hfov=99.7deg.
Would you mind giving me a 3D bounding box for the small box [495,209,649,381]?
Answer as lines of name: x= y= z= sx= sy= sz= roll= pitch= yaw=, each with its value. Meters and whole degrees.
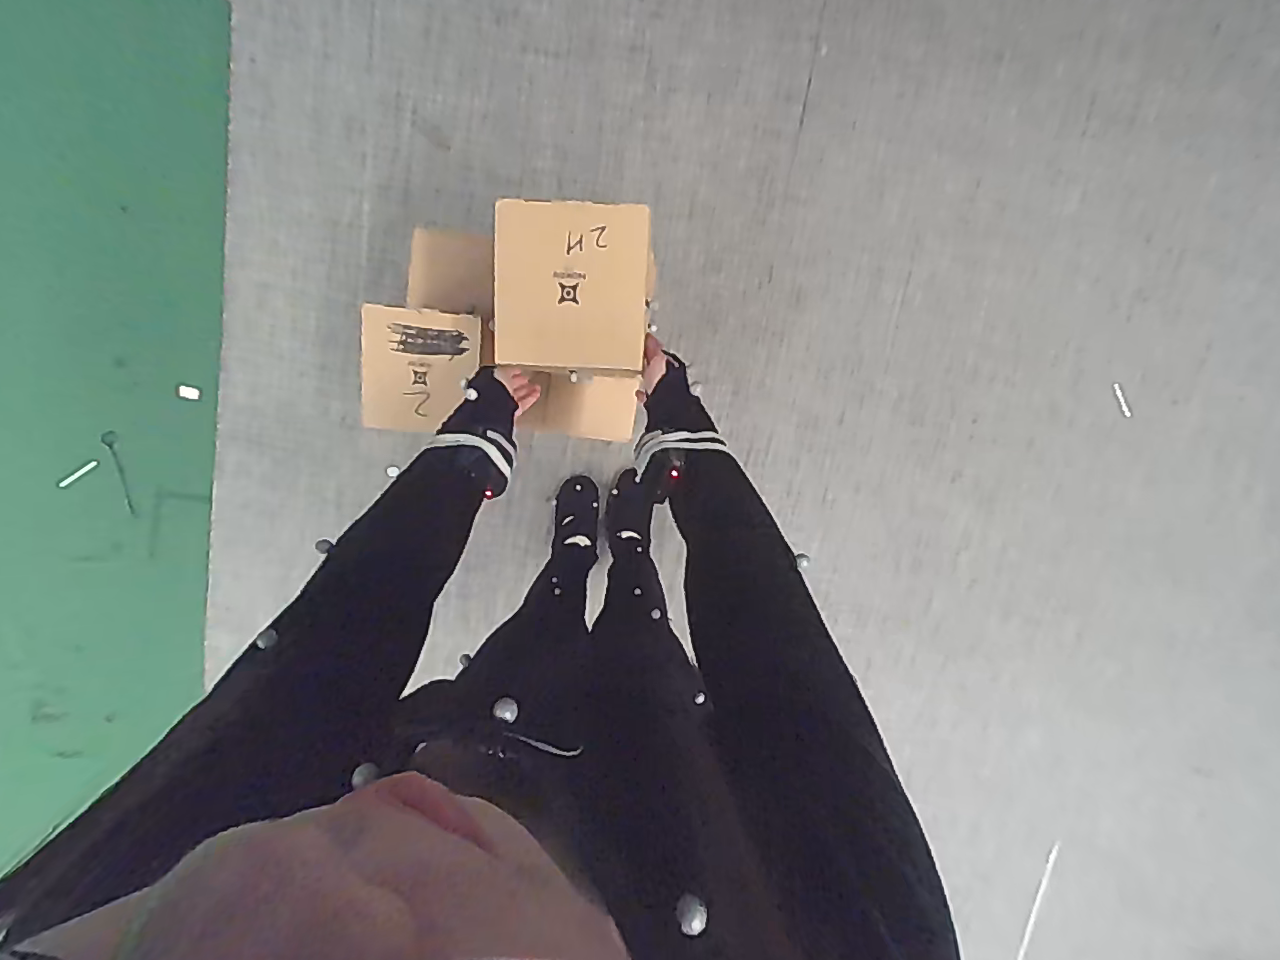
small box: x=-0.076 y=-0.218 z=0.680 sx=0.168 sy=0.176 sz=0.179 roll=4 pitch=99 yaw=0
